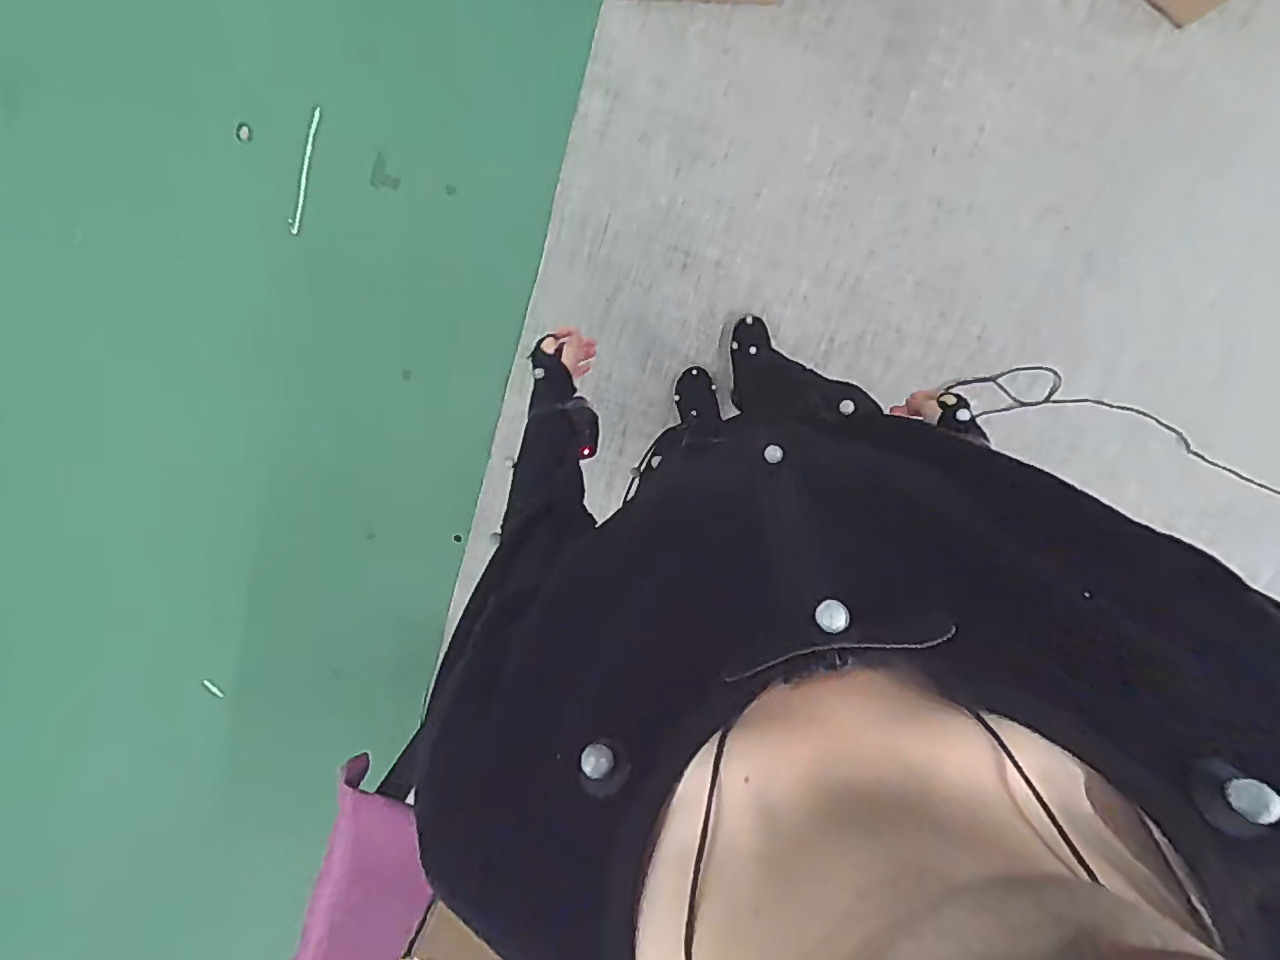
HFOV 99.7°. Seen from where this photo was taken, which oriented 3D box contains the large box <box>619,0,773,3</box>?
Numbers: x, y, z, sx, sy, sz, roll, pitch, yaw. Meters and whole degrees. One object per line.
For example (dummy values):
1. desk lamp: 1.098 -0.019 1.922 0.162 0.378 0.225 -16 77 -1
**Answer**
1. large box: 0.134 -1.253 1.110 0.408 0.320 0.320 4 101 4
